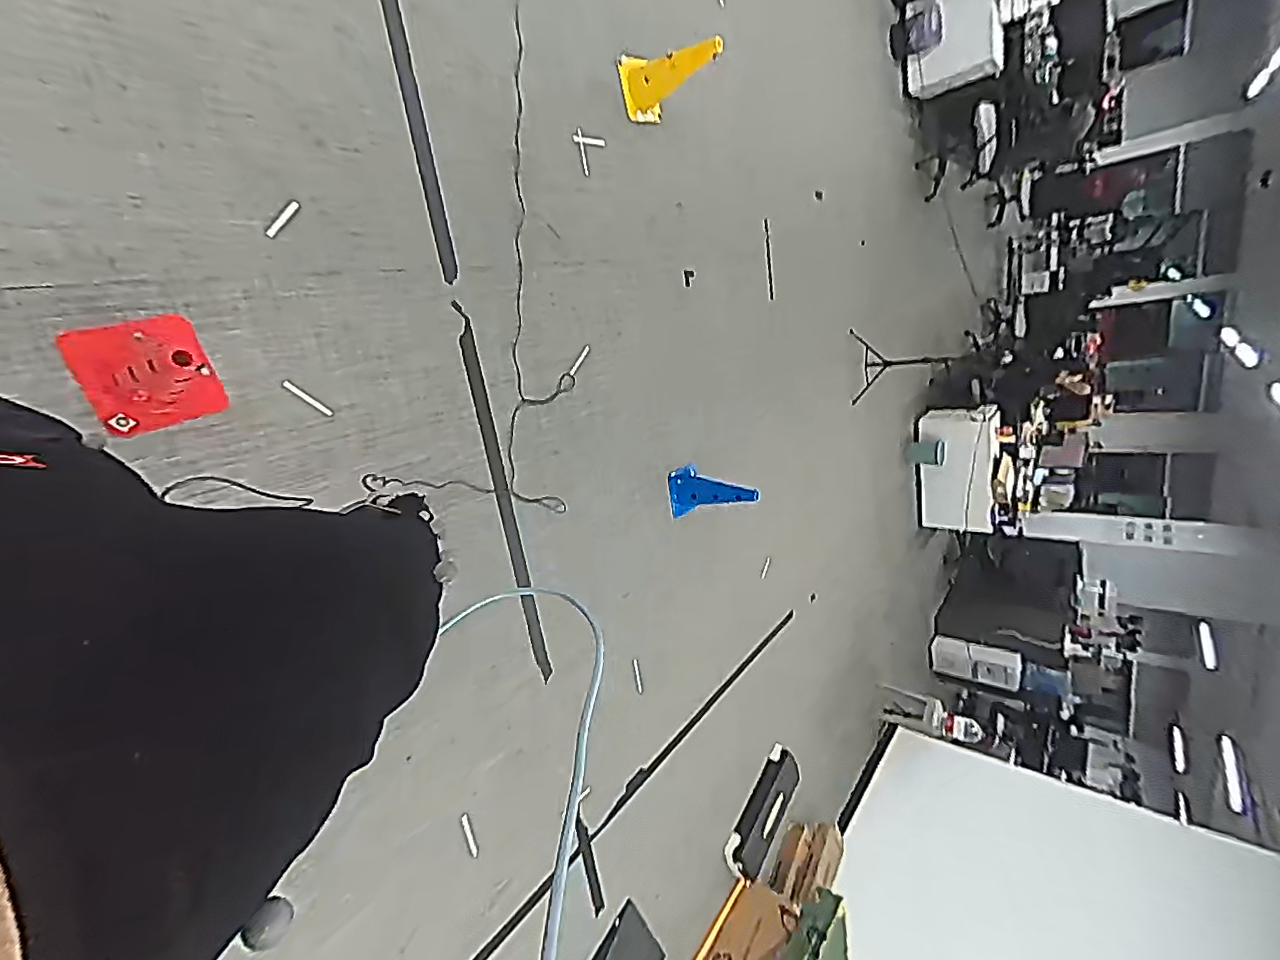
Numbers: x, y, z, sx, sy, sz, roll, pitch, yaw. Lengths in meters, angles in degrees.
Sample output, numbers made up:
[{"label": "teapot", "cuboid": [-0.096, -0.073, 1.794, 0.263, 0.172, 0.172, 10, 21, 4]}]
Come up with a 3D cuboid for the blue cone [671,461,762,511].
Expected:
[{"label": "blue cone", "cuboid": [0.322, 0.036, 2.238, 0.192, 0.380, 0.193, -25, 112, -46]}]

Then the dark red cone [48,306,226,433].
[{"label": "dark red cone", "cuboid": [-0.800, -0.199, 0.902, 0.201, 0.394, 0.202, -35, 119, -43]}]
